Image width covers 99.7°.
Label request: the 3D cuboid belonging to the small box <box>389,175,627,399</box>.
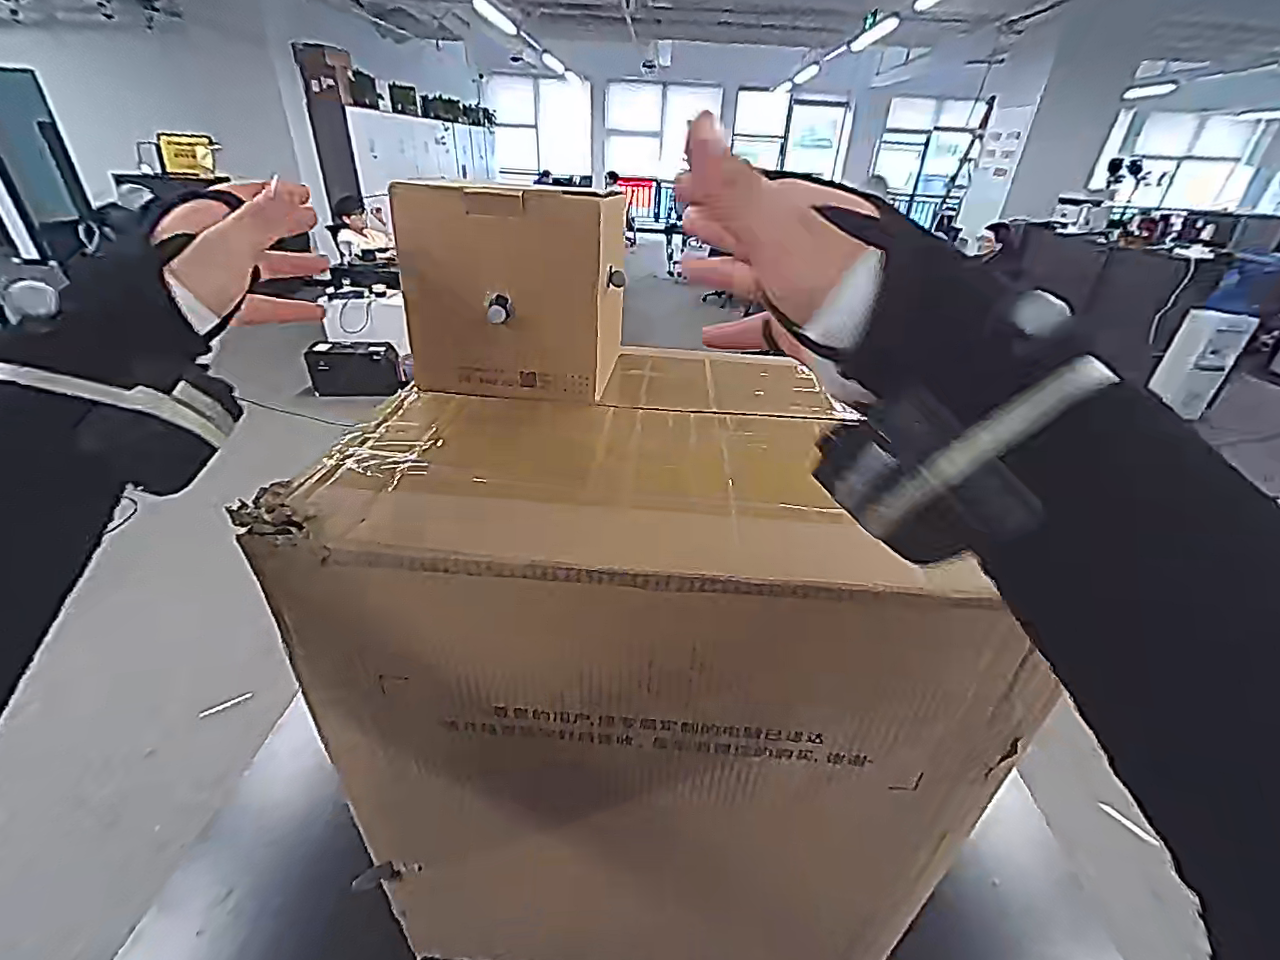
[{"bbox_3d":[-0.104,-0.185,0.509,0.168,0.176,0.179,5,29,2],"label":"small box"}]
